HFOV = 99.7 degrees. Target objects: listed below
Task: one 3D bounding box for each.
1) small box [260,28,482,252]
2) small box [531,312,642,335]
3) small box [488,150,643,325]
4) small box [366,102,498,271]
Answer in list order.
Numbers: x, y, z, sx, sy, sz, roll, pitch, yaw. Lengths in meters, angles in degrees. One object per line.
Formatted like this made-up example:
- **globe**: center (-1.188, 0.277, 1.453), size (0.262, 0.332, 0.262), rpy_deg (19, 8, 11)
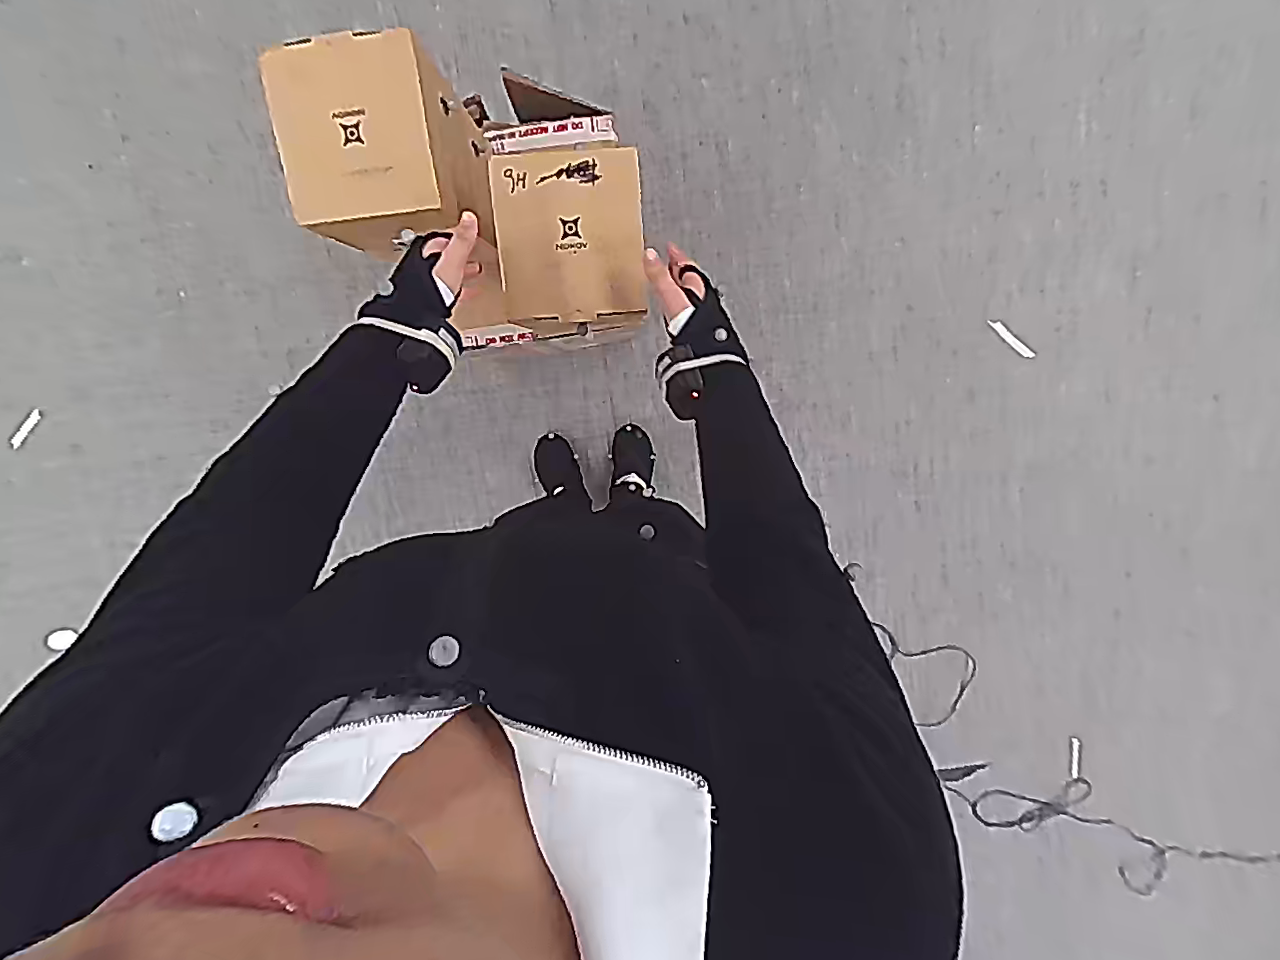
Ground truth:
- **small box**: center (-0.306, -0.393, 0.656), size (0.168, 0.176, 0.179), rpy_deg (-7, 103, 2)
- **small box**: center (-0.092, -0.328, 0.847), size (0.168, 0.176, 0.179), rpy_deg (-8, 104, -1)
- **small box**: center (-0.084, -0.292, 0.687), size (0.168, 0.176, 0.179), rpy_deg (-4, 103, -2)
- **small box**: center (-0.311, -0.428, 0.816), size (0.168, 0.176, 0.179), rpy_deg (-7, 103, 1)
